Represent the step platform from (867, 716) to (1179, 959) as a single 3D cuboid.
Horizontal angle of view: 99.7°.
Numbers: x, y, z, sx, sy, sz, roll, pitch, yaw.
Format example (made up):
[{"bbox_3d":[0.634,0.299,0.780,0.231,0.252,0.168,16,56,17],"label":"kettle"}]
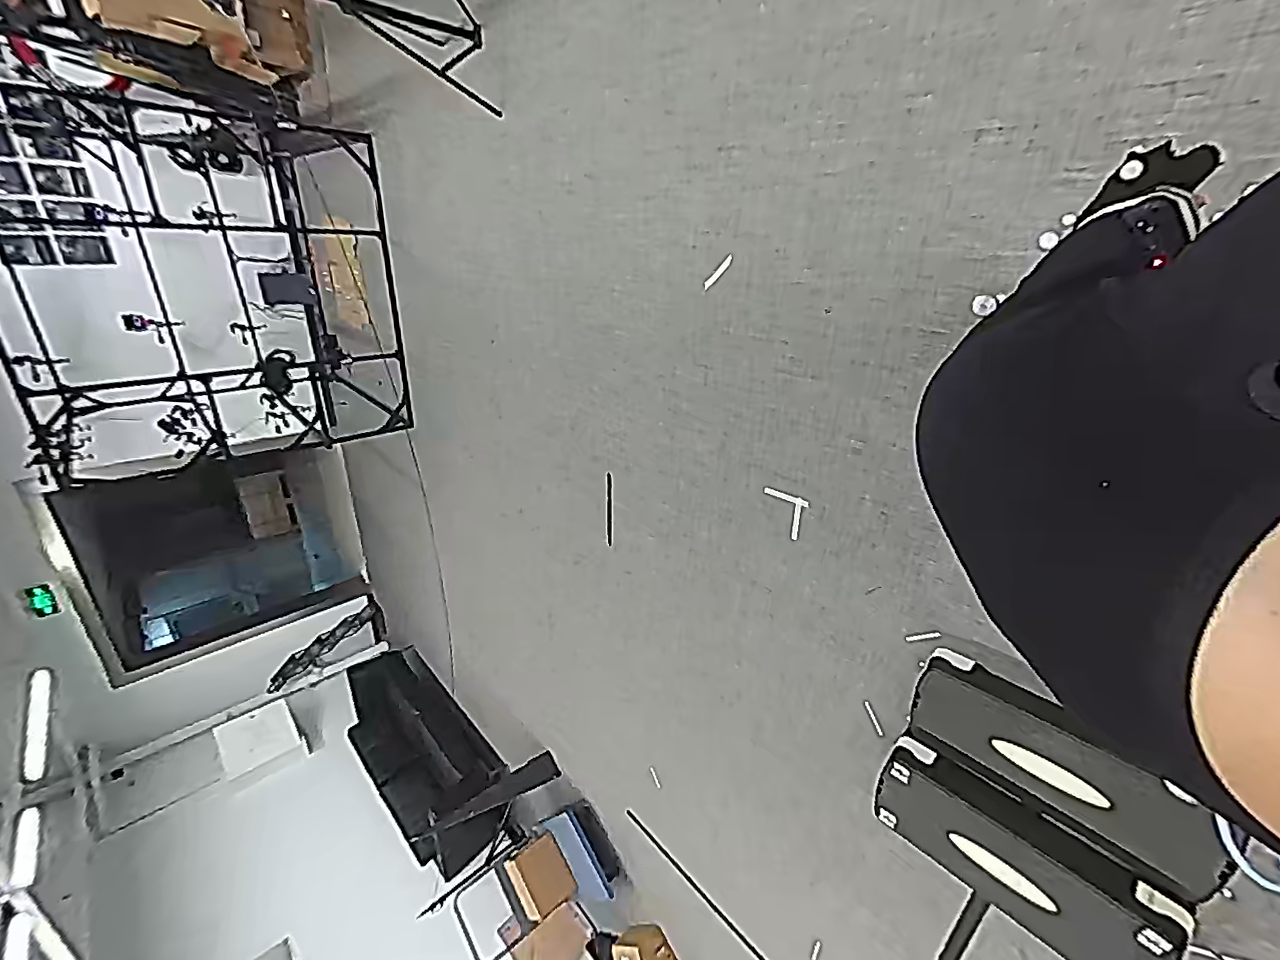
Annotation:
[{"bbox_3d":[0.992,0.985,1.492,0.684,0.204,0.286,25,123,43],"label":"step platform"}]
